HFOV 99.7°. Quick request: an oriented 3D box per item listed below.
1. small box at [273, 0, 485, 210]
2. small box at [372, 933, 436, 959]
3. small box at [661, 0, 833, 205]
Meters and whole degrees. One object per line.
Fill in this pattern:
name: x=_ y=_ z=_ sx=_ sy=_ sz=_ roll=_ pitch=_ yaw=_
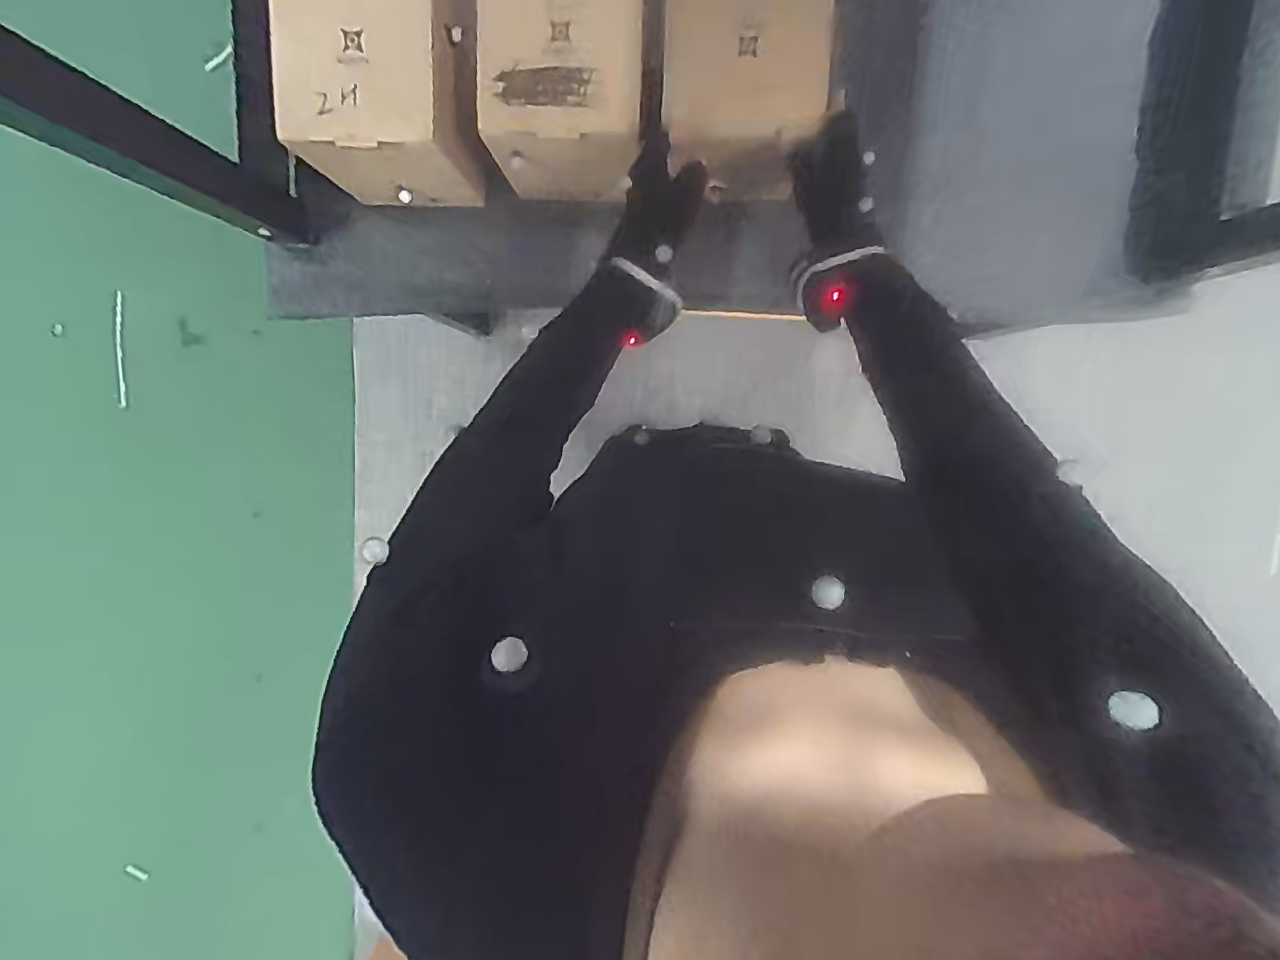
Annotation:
small box: x=-0.284 y=-0.437 z=0.622 sx=0.168 sy=0.176 sz=0.179 roll=2 pitch=97 yaw=1
small box: x=-0.719 y=1.498 z=1.600 sx=0.168 sy=0.176 sz=0.179 roll=5 pitch=98 yaw=1
small box: x=0.109 y=-0.438 z=0.615 sx=0.168 sy=0.176 sz=0.179 roll=1 pitch=98 yaw=3
